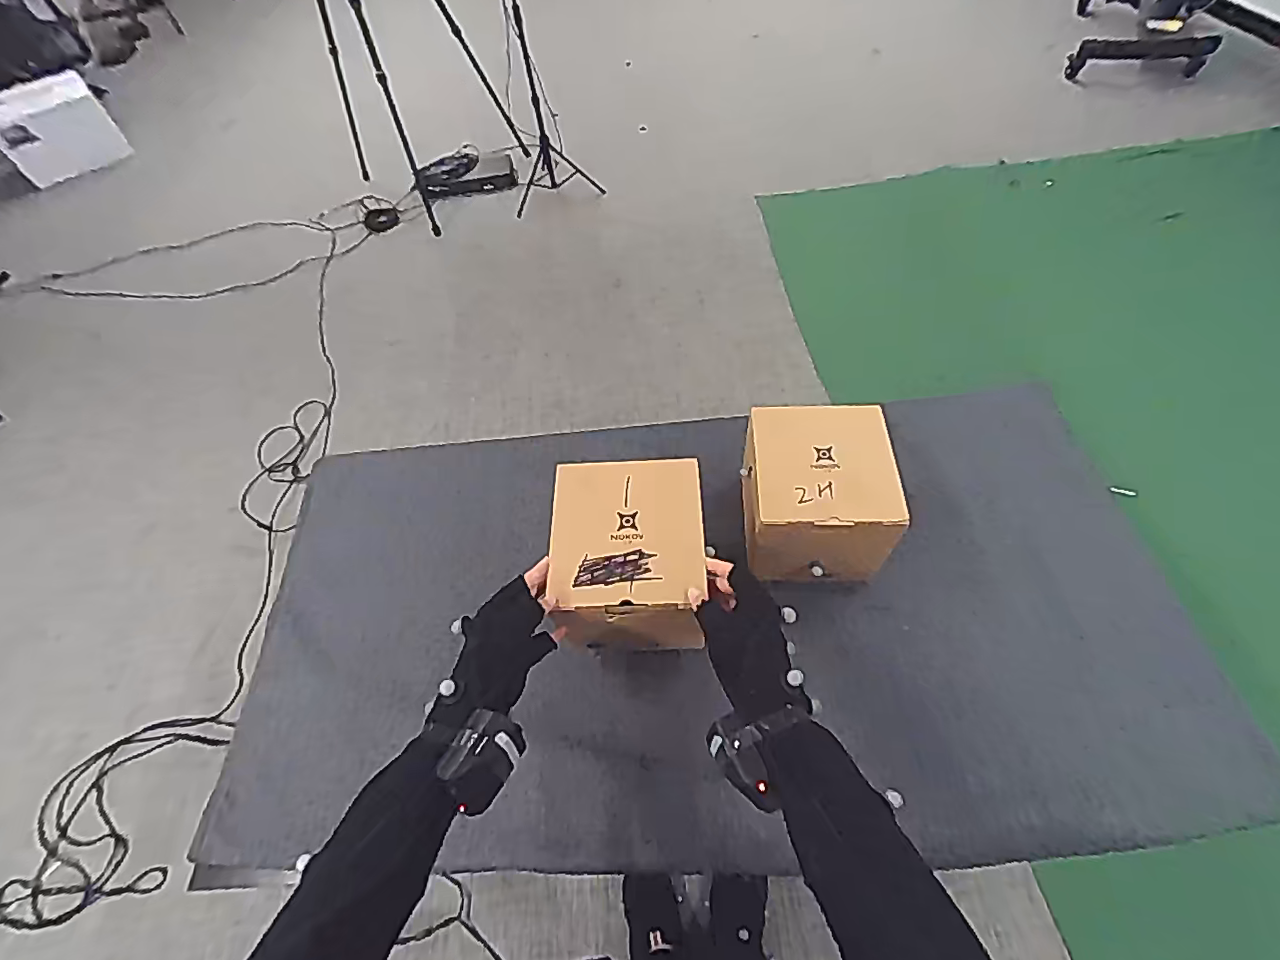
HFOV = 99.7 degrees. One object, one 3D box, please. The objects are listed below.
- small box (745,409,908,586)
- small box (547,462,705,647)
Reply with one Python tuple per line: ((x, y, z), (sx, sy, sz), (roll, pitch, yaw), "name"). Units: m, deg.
((0.230, 0.025, 0.720), (0.168, 0.176, 0.179), (-1, 57, 7), "small box")
((-0.007, 0.098, 0.653), (0.168, 0.176, 0.179), (-2, 58, 4), "small box")
